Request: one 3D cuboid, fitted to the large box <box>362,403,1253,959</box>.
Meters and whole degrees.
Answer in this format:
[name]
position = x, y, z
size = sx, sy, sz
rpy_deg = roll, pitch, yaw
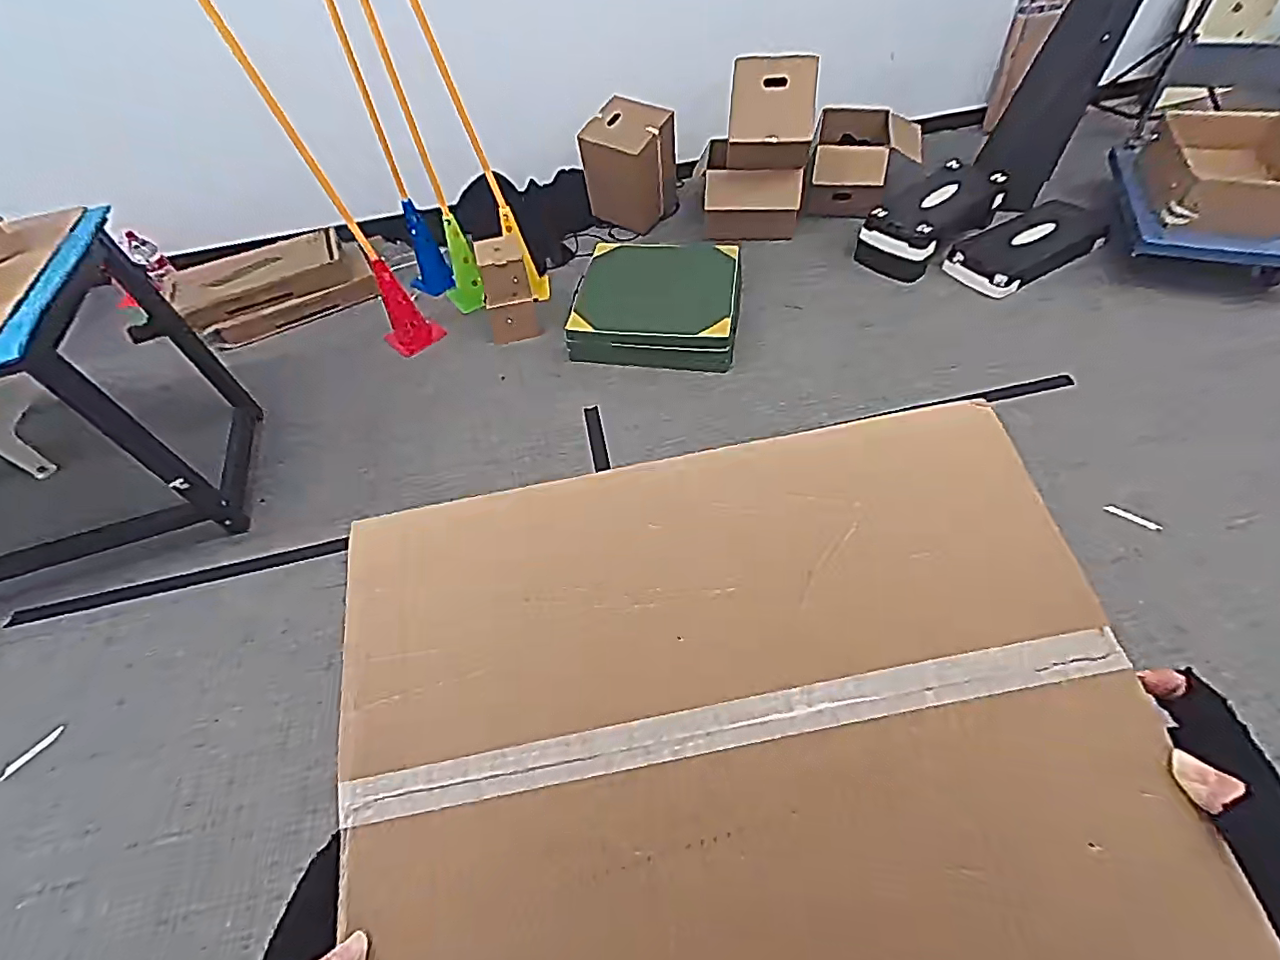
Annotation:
[large box]
position = 0.057, 0.186, 0.427
size = 0.408, 0.320, 0.320
rpy_deg = -12, 66, 0
